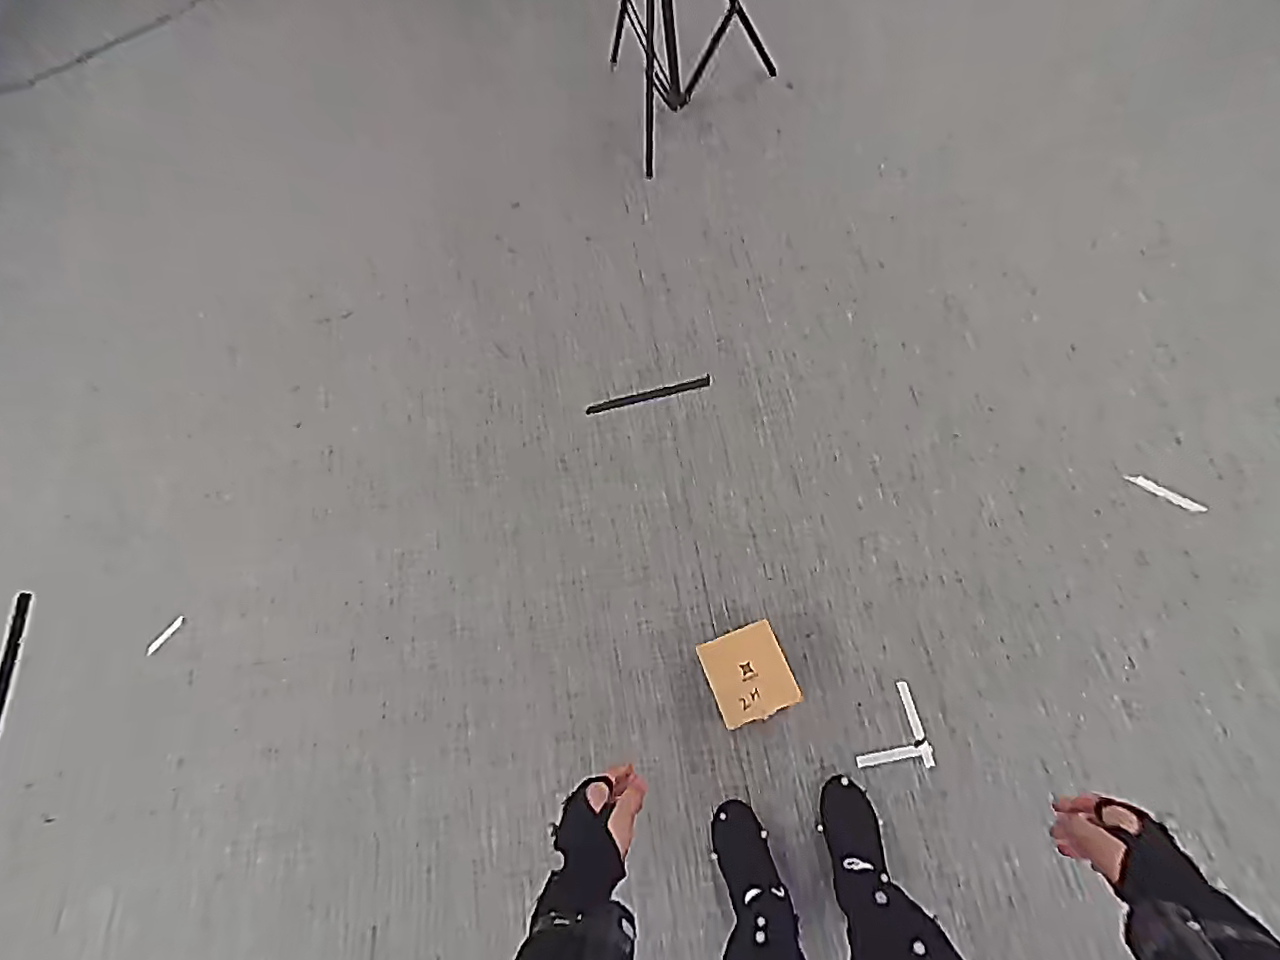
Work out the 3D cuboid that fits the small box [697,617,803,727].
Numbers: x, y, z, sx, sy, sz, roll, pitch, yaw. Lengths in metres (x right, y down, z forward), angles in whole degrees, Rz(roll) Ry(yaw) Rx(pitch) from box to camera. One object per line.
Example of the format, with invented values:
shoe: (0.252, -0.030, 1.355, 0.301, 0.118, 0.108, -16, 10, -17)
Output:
small box: (0.233, 0.418, 1.180, 0.168, 0.176, 0.179, -23, 69, 2)
